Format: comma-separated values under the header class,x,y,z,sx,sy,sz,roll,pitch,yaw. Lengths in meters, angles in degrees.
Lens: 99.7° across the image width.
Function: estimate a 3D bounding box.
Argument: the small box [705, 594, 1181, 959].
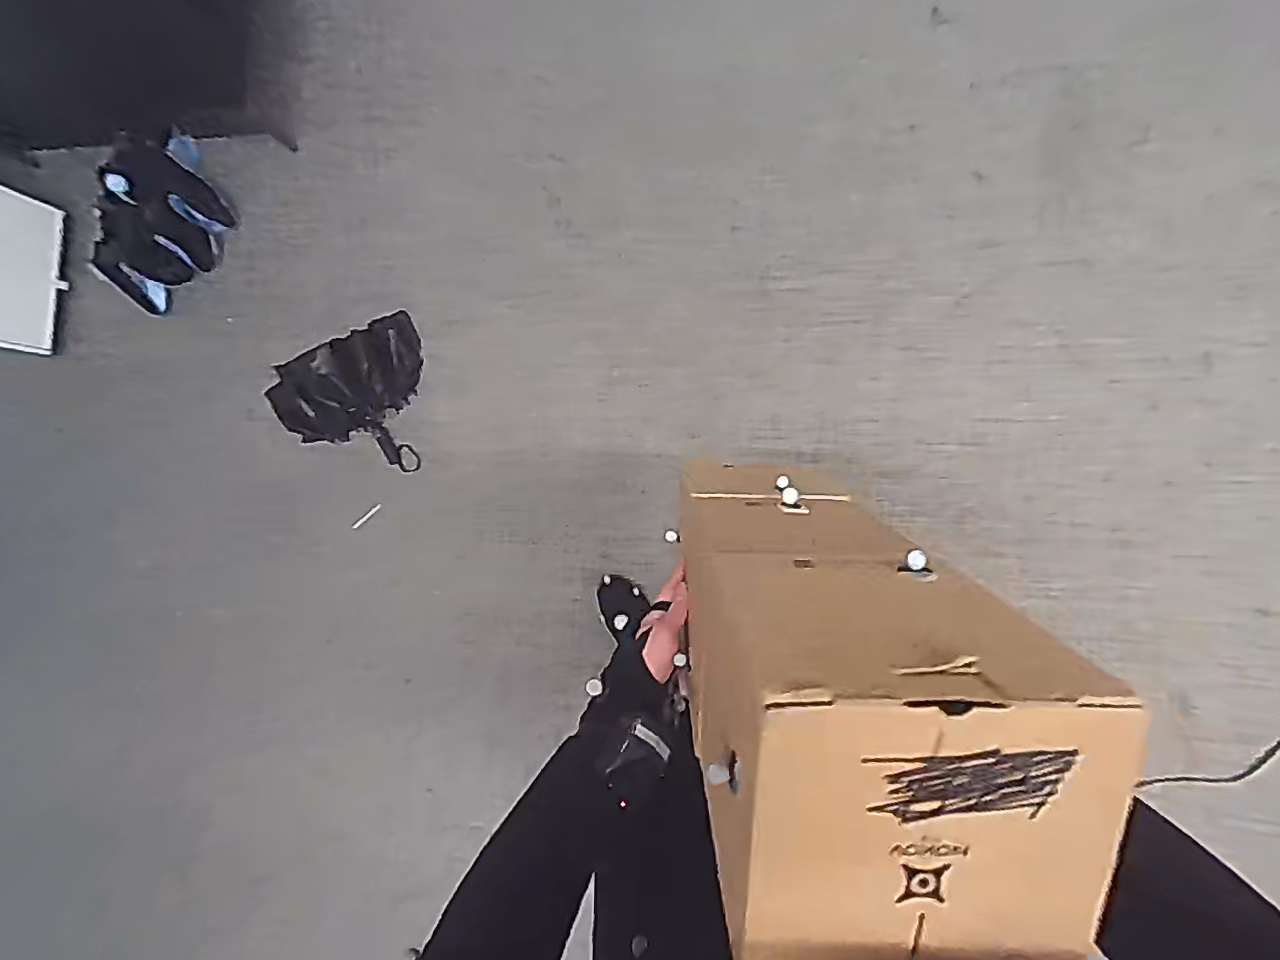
class,x,y,z,sx,sy,sz,roll,pitch,yaw
small box,0.129,0.177,0.307,0.168,0.176,0.179,0,105,1
